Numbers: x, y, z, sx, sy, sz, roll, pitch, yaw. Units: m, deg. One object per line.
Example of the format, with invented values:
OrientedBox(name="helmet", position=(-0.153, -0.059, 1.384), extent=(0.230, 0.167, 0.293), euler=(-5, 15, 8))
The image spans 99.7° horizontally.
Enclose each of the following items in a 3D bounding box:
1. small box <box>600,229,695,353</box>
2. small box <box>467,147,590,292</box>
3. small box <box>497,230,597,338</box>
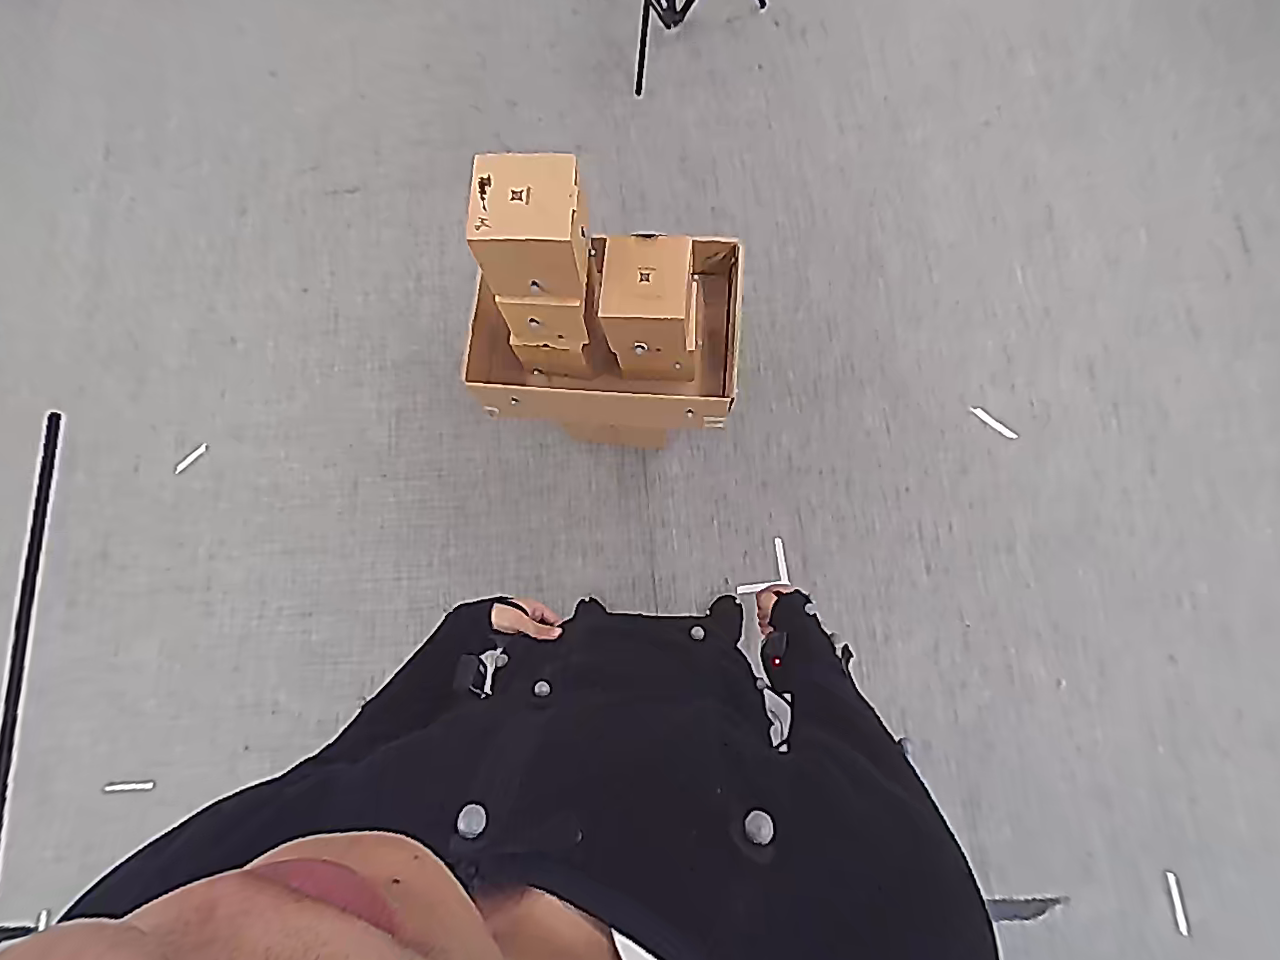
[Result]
OrientedBox(name="small box", position=(0.022, -0.377, 1.092), extent=(0.168, 0.176, 0.179), euler=(4, 79, 7))
OrientedBox(name="small box", position=(-0.186, -0.452, 0.958), extent=(0.179, 0.176, 0.168), euler=(3, 78, 2))
OrientedBox(name="small box", position=(-0.183, -0.409, 1.117), extent=(0.168, 0.176, 0.179), euler=(4, 78, 2))
